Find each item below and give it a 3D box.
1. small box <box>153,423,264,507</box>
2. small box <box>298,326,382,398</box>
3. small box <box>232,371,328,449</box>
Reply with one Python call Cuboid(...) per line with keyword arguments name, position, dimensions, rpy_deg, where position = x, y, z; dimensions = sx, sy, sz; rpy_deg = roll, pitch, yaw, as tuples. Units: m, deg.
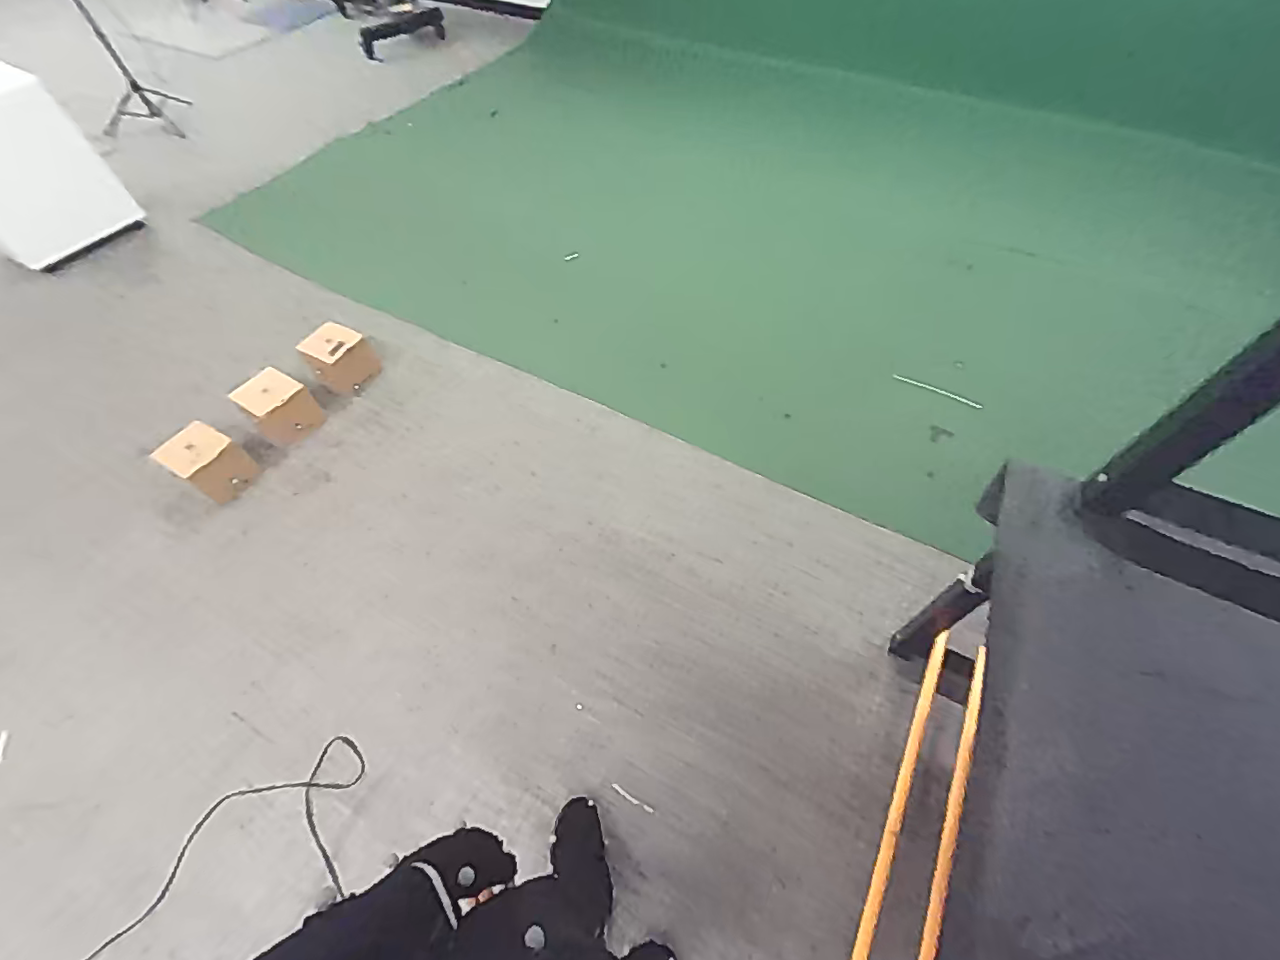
Cuboid(name="small box", position=(-1.345, -0.041, 1.697), dimensions=(0.179, 0.176, 0.168), rpy_deg=(25, 60, 16))
Cuboid(name="small box", position=(-1.079, -0.424, 1.964), dimensions=(0.179, 0.176, 0.168), rpy_deg=(23, 58, 16))
Cuboid(name="small box", position=(-1.212, -0.232, 1.832), dimensions=(0.179, 0.176, 0.168), rpy_deg=(27, 59, 17))
